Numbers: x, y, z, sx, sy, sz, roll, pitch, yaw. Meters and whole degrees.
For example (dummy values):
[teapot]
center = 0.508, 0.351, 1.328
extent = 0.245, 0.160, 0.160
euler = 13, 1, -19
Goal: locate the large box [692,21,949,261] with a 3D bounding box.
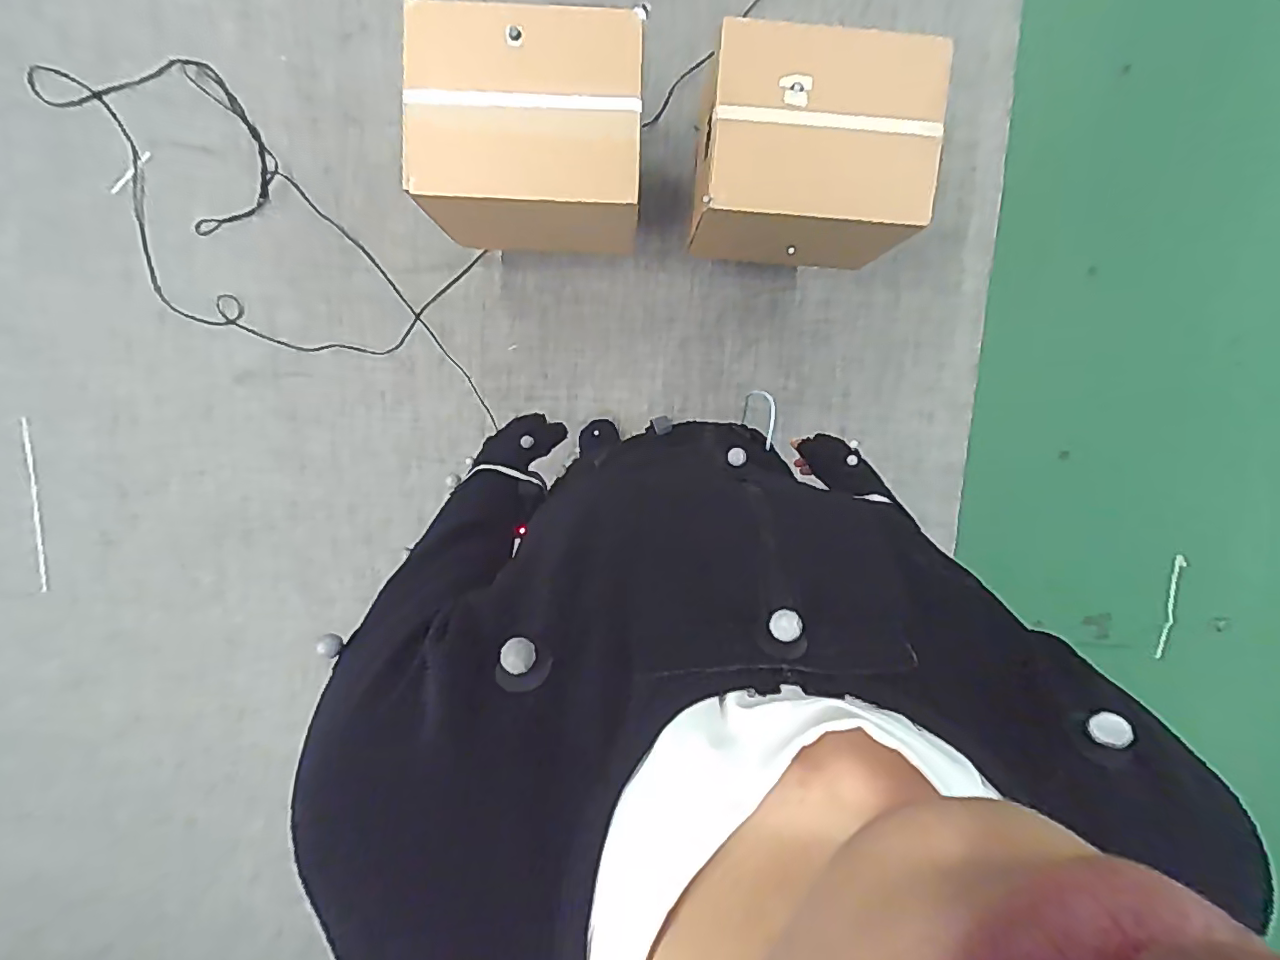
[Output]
[large box]
center = 0.332, -0.651, 1.103
extent = 0.408, 0.320, 0.320
euler = 4, 97, -1
